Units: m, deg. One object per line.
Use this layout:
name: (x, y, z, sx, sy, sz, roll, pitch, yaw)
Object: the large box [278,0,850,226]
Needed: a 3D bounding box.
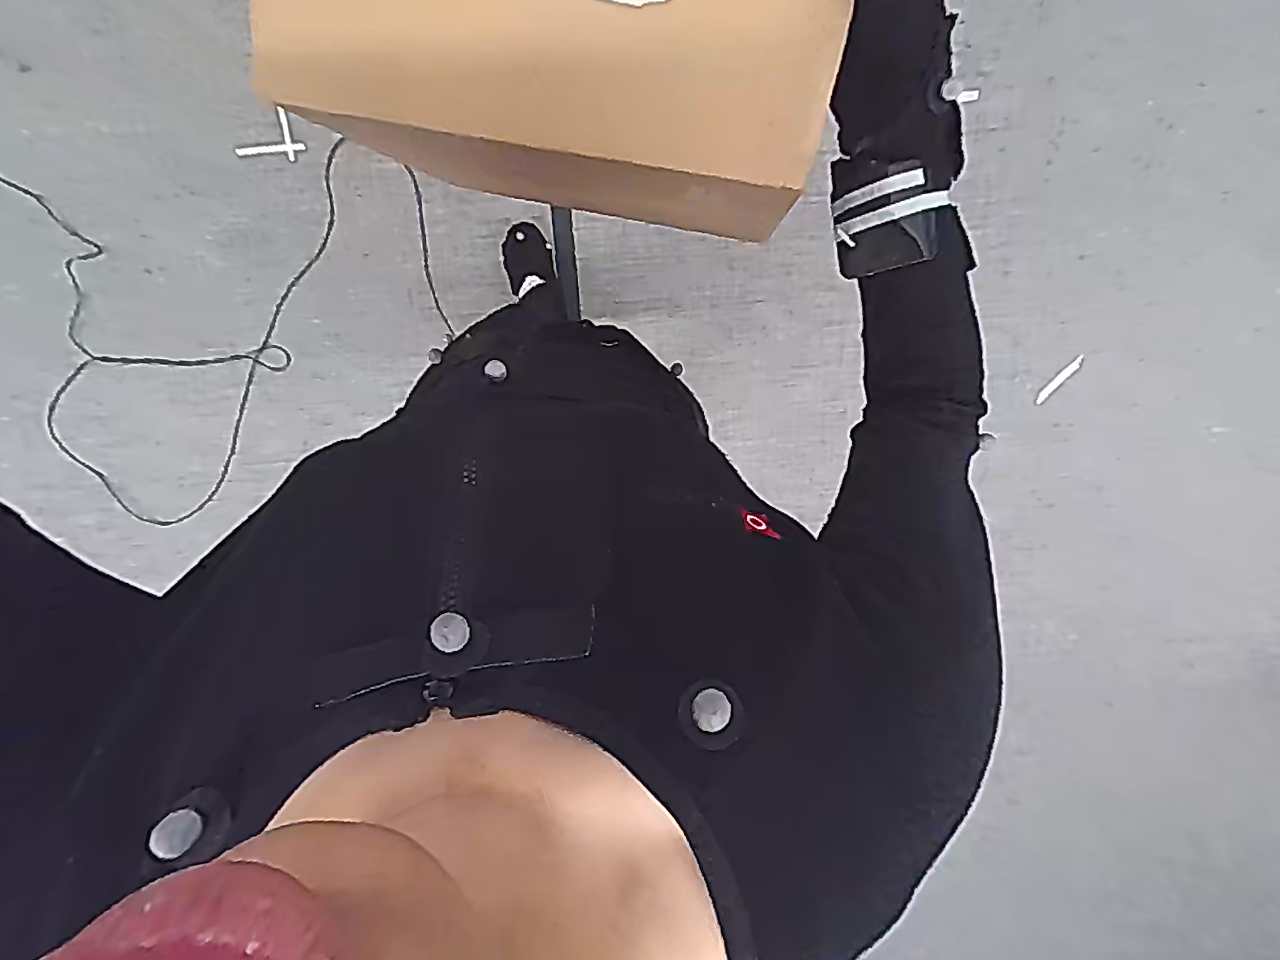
large box: (-0.032, -0.442, 0.485, 0.408, 0.320, 0.320, 12, 110, 4)
